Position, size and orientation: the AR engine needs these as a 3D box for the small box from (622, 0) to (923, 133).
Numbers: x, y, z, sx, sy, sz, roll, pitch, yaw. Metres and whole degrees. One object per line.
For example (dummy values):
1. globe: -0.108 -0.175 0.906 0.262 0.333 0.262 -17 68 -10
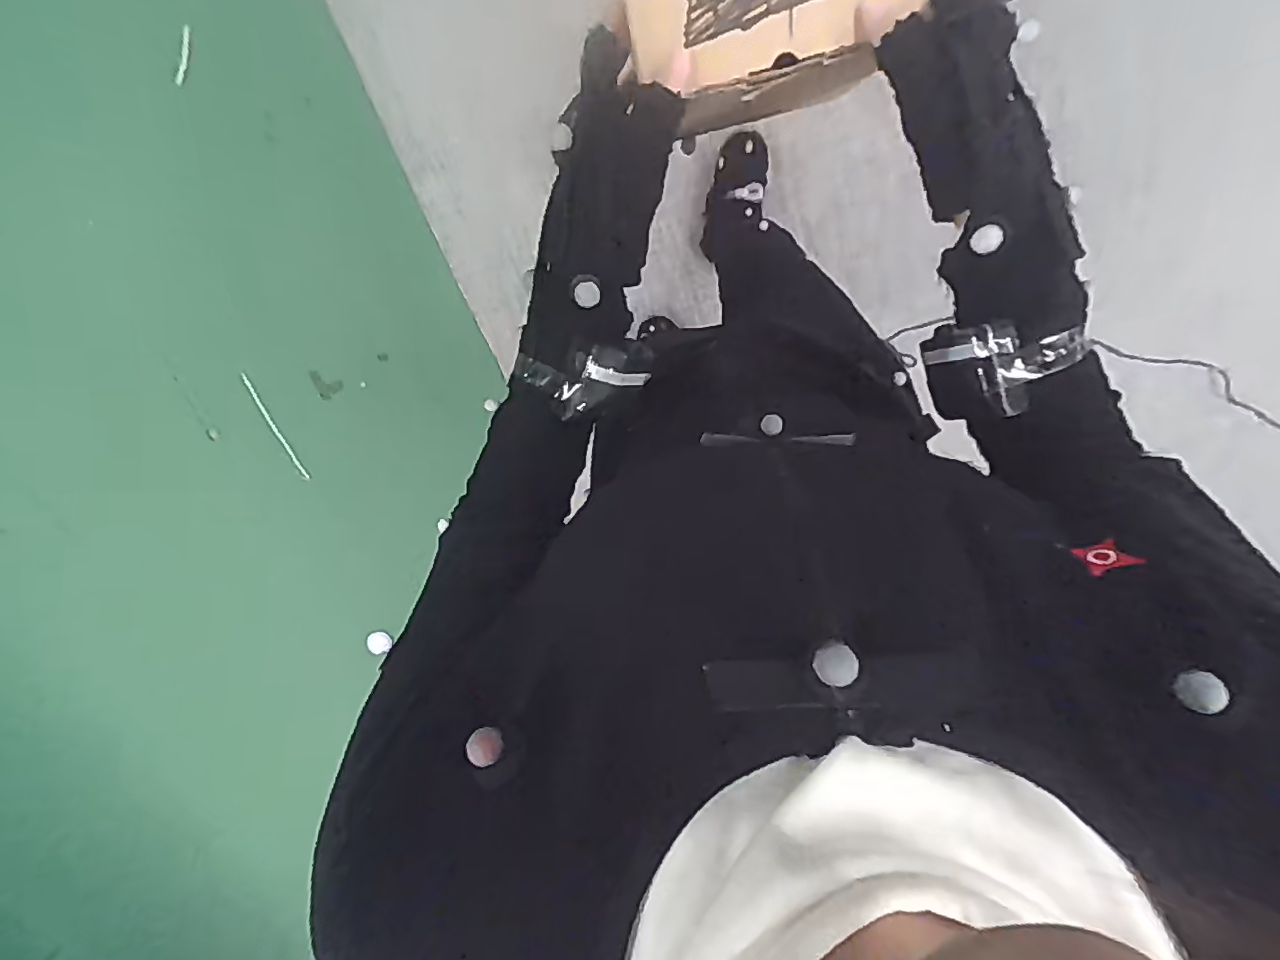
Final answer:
1. small box: 0.067 -0.351 0.356 0.168 0.176 0.179 -11 112 6
